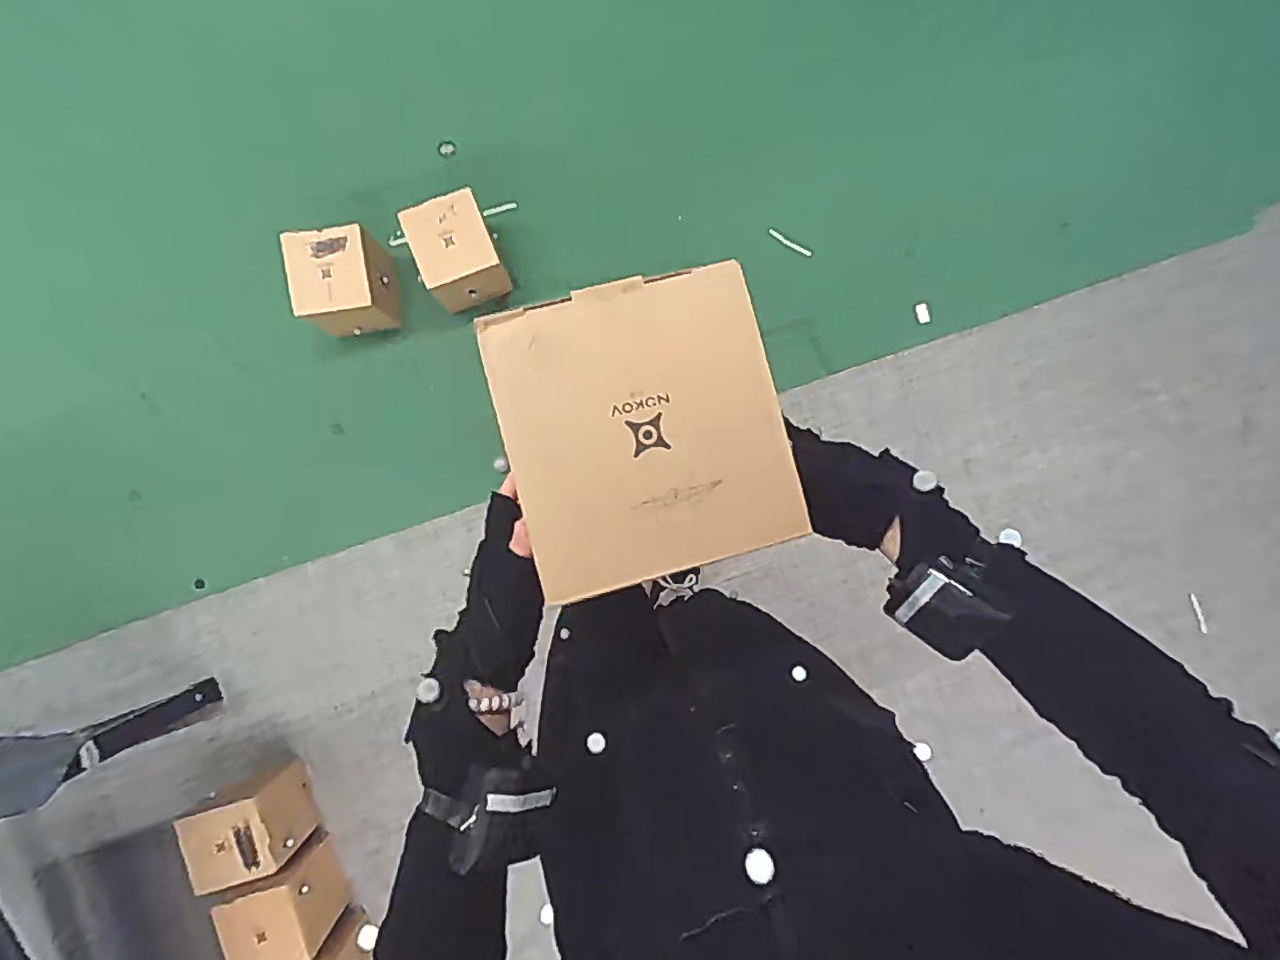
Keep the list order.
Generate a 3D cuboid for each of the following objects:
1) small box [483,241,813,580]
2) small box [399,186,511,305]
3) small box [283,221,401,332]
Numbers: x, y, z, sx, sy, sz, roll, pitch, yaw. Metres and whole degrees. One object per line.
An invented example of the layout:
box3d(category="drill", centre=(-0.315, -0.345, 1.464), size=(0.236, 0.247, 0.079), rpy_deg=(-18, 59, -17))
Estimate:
box3d(category="small box", centre=(-0.002, -0.039, 0.395), size=(0.168, 0.176, 0.179), rpy_deg=(-14, 89, -6))
box3d(category="small box", centre=(-0.404, -0.513, 1.215), size=(0.168, 0.176, 0.179), rpy_deg=(-21, 90, -4))
box3d(category="small box", centre=(-0.653, -0.446, 1.203), size=(0.168, 0.176, 0.179), rpy_deg=(-8, 91, -2))
